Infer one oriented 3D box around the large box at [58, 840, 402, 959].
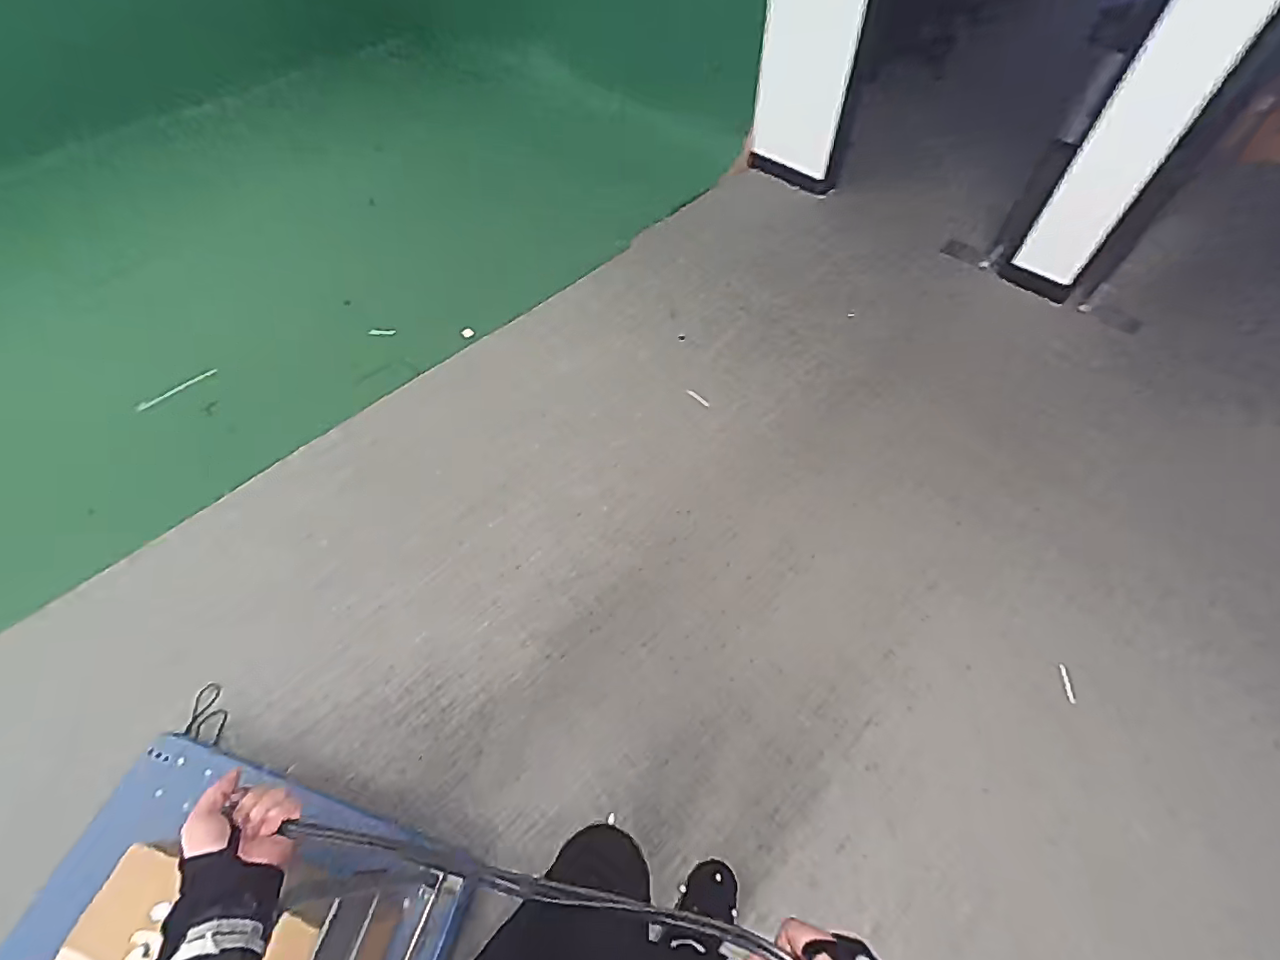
[{"bbox_3d":[-0.722,0.877,0.950,0.408,0.320,0.320,14,58,12],"label":"large box"}]
